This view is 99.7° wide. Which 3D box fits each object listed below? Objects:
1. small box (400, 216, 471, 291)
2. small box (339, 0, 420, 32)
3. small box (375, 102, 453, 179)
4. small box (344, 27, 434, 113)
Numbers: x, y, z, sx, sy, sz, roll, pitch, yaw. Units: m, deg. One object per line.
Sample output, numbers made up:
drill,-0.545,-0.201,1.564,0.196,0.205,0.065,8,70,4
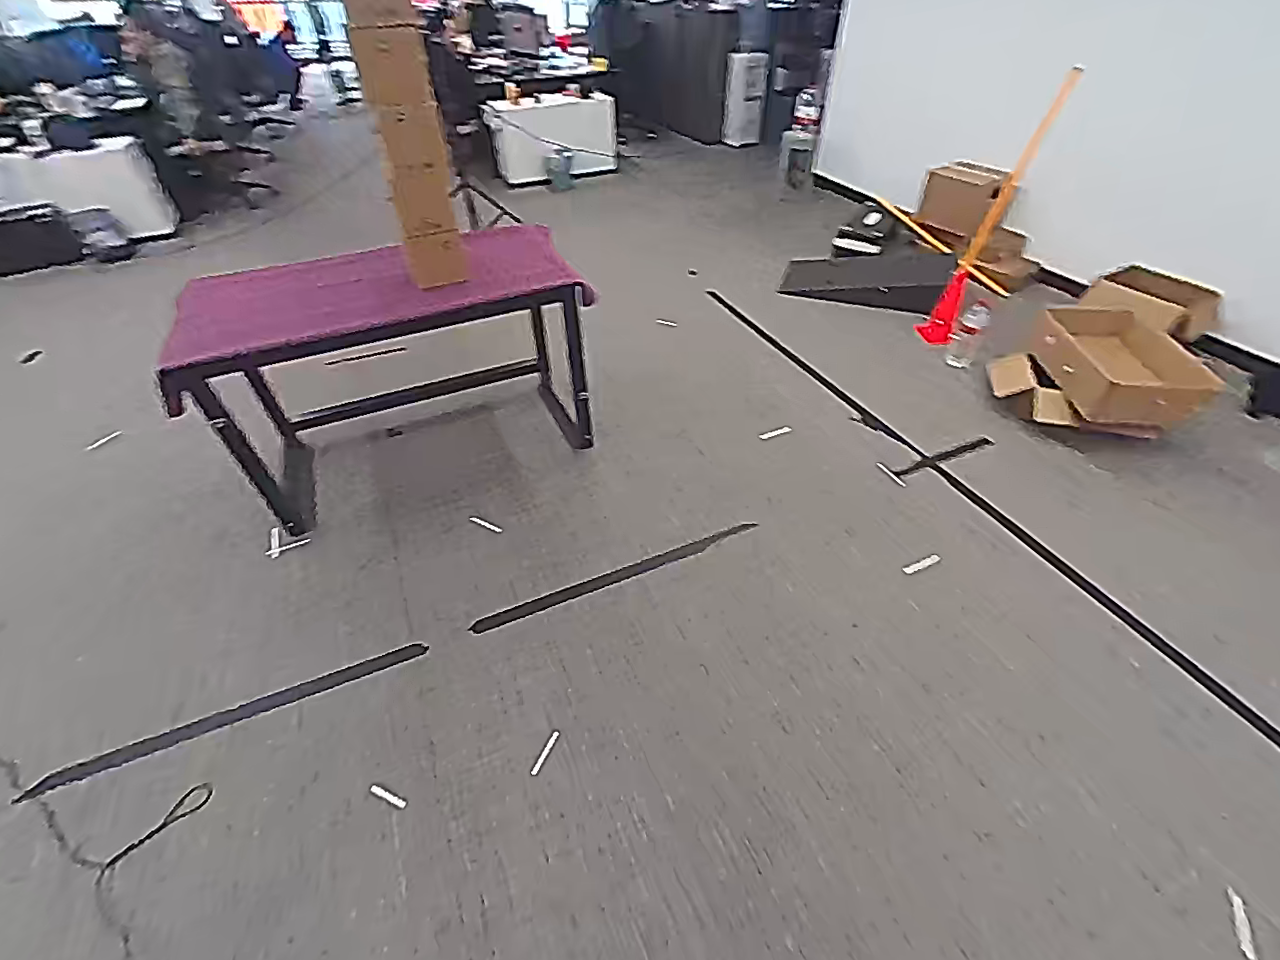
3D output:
small box,-0.672,-0.751,1.792,0.179,0.176,0.168,-20,46,-17
small box,-0.670,-1.237,1.356,0.168,0.176,0.179,-20,46,-20
small box,-0.660,-0.993,1.571,0.168,0.176,0.179,-19,46,-18
small box,-0.674,-1.115,1.464,0.179,0.176,0.168,-20,47,-18
